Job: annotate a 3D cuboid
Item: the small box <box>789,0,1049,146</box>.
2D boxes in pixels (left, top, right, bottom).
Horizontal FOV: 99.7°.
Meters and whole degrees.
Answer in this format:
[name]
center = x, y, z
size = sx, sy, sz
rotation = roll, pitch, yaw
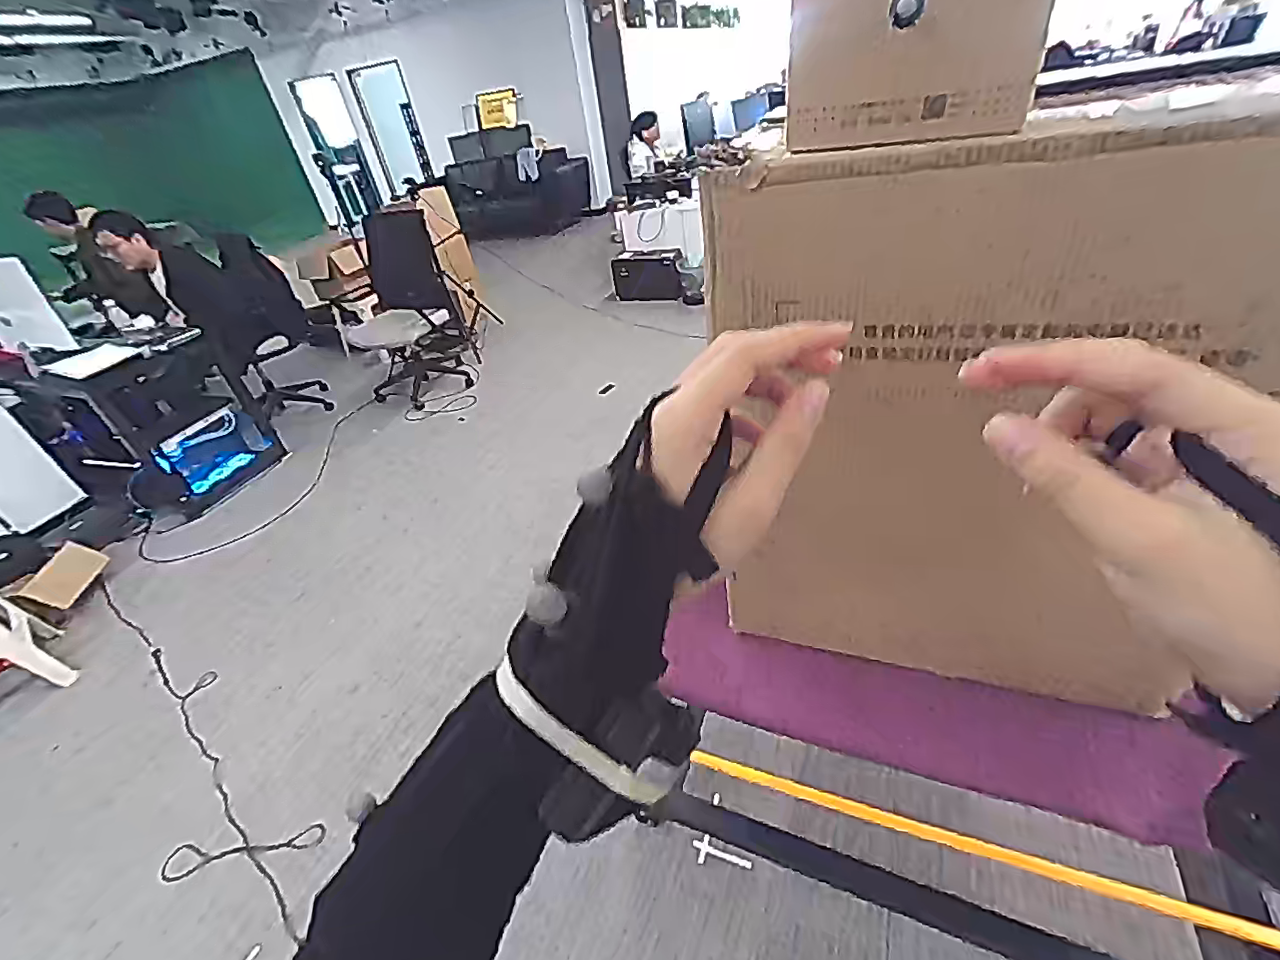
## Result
[small box]
center = 0.211, -0.370, 0.421
size = 0.168, 0.176, 0.179
rotation = 7, 40, 19
